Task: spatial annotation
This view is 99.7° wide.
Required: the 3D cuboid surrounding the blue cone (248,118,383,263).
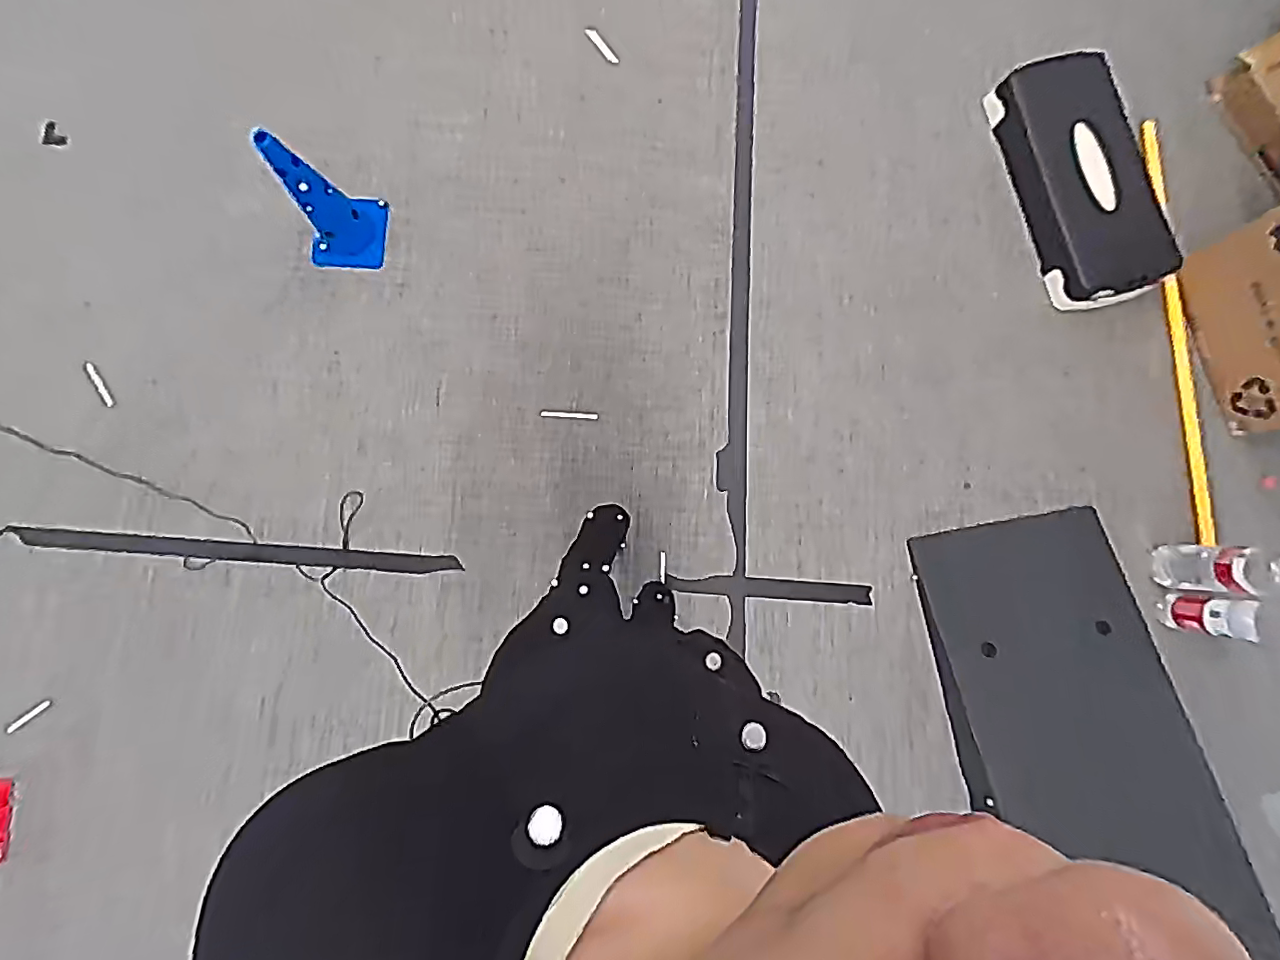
[{"bbox_3d":[-0.799,-0.703,1.307,0.193,0.380,0.192,4,82,1],"label":"blue cone"}]
